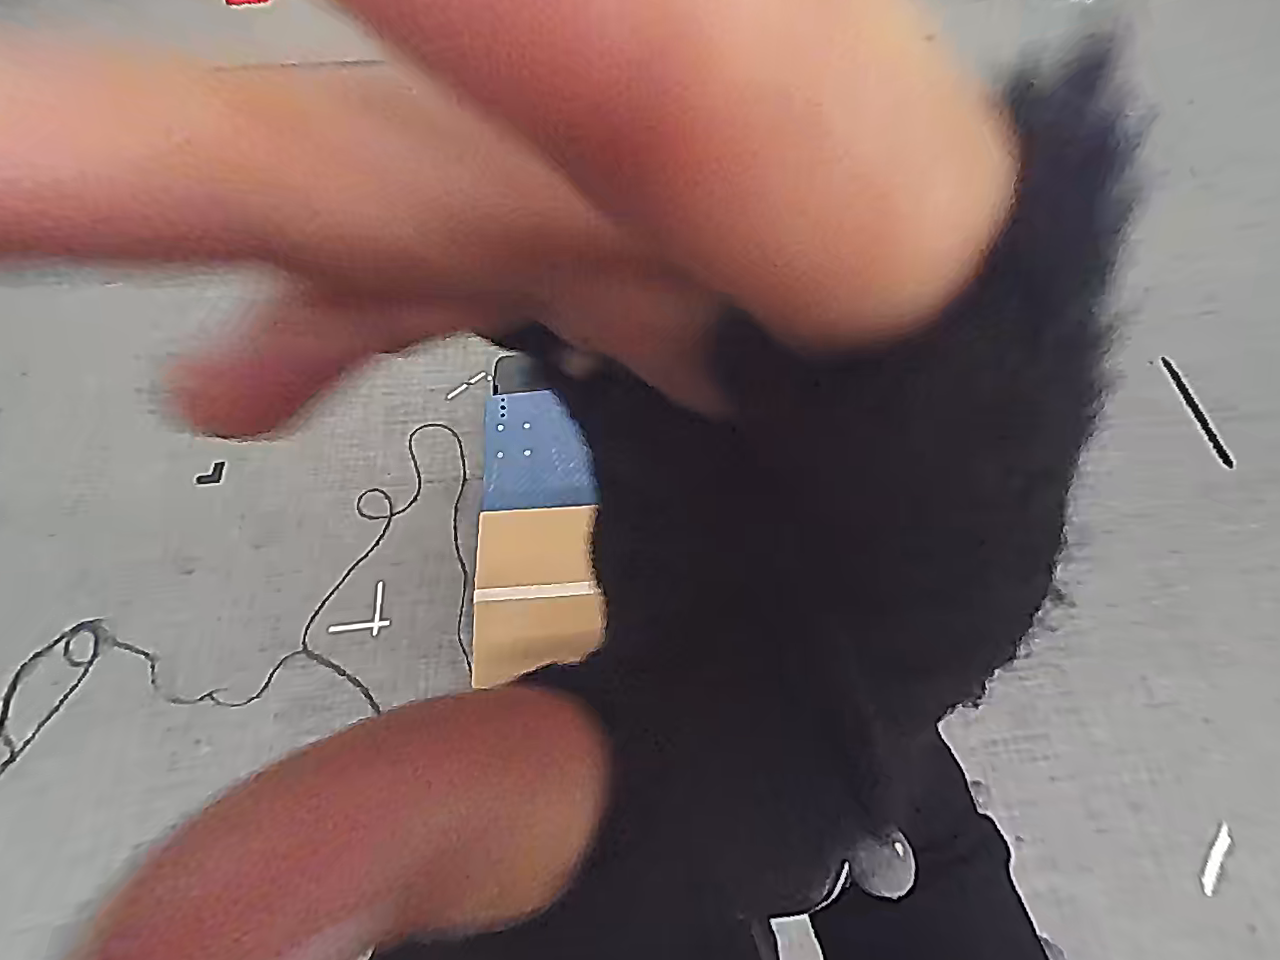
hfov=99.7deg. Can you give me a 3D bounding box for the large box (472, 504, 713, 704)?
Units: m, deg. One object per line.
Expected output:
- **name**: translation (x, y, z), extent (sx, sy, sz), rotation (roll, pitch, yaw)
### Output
- **large box**: translation (-0.094, 0.259, 1.079), extent (0.408, 0.320, 0.320), rotation (-3, 66, -3)
